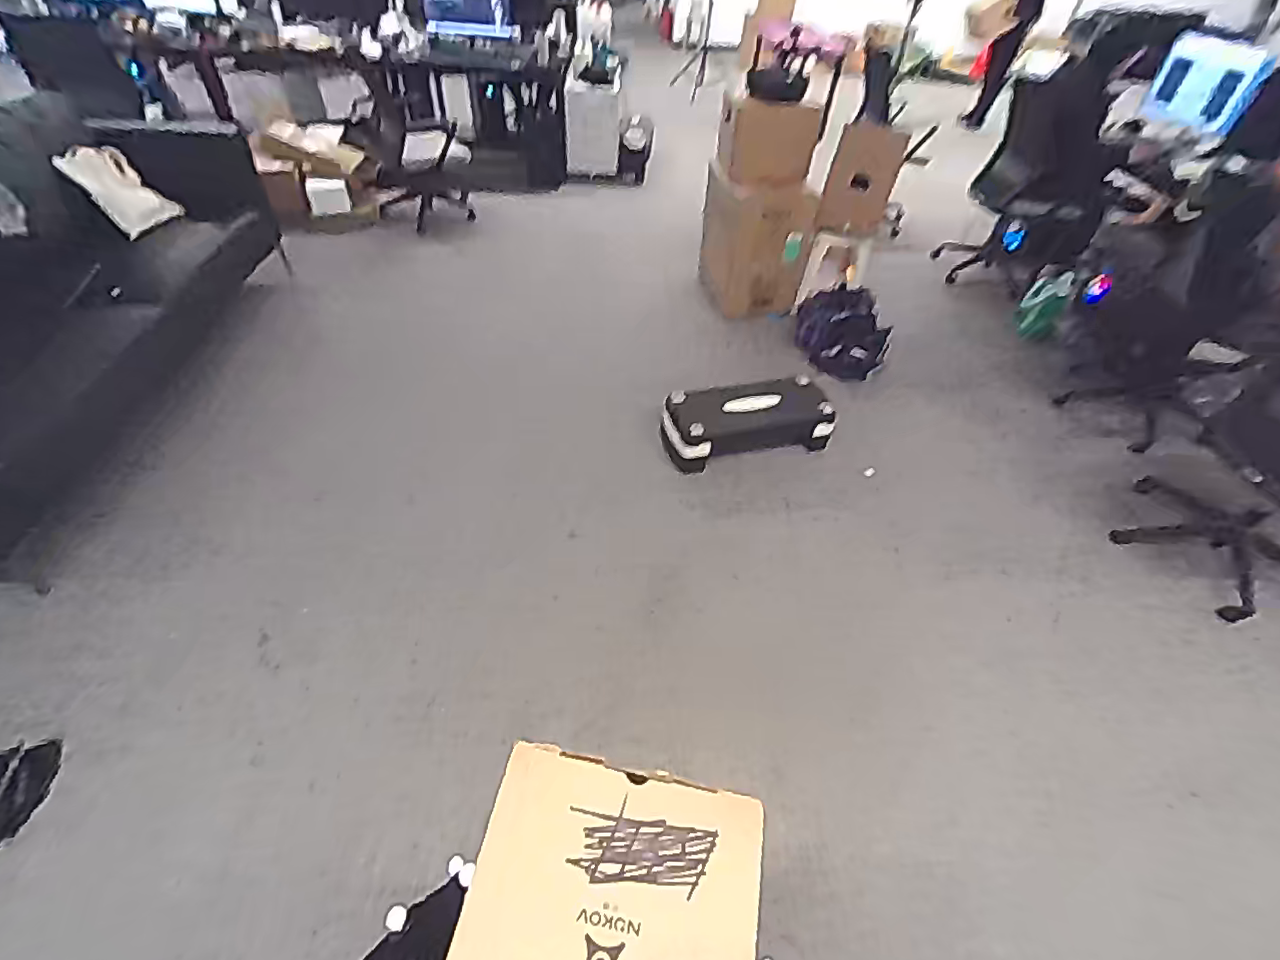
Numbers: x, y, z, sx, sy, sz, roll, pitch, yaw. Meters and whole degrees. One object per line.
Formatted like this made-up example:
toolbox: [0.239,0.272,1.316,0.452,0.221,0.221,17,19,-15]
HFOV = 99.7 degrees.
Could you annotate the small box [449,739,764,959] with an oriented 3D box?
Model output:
small box: [-0.025,0.296,0.361,0.168,0.176,0.179,12,57,2]
